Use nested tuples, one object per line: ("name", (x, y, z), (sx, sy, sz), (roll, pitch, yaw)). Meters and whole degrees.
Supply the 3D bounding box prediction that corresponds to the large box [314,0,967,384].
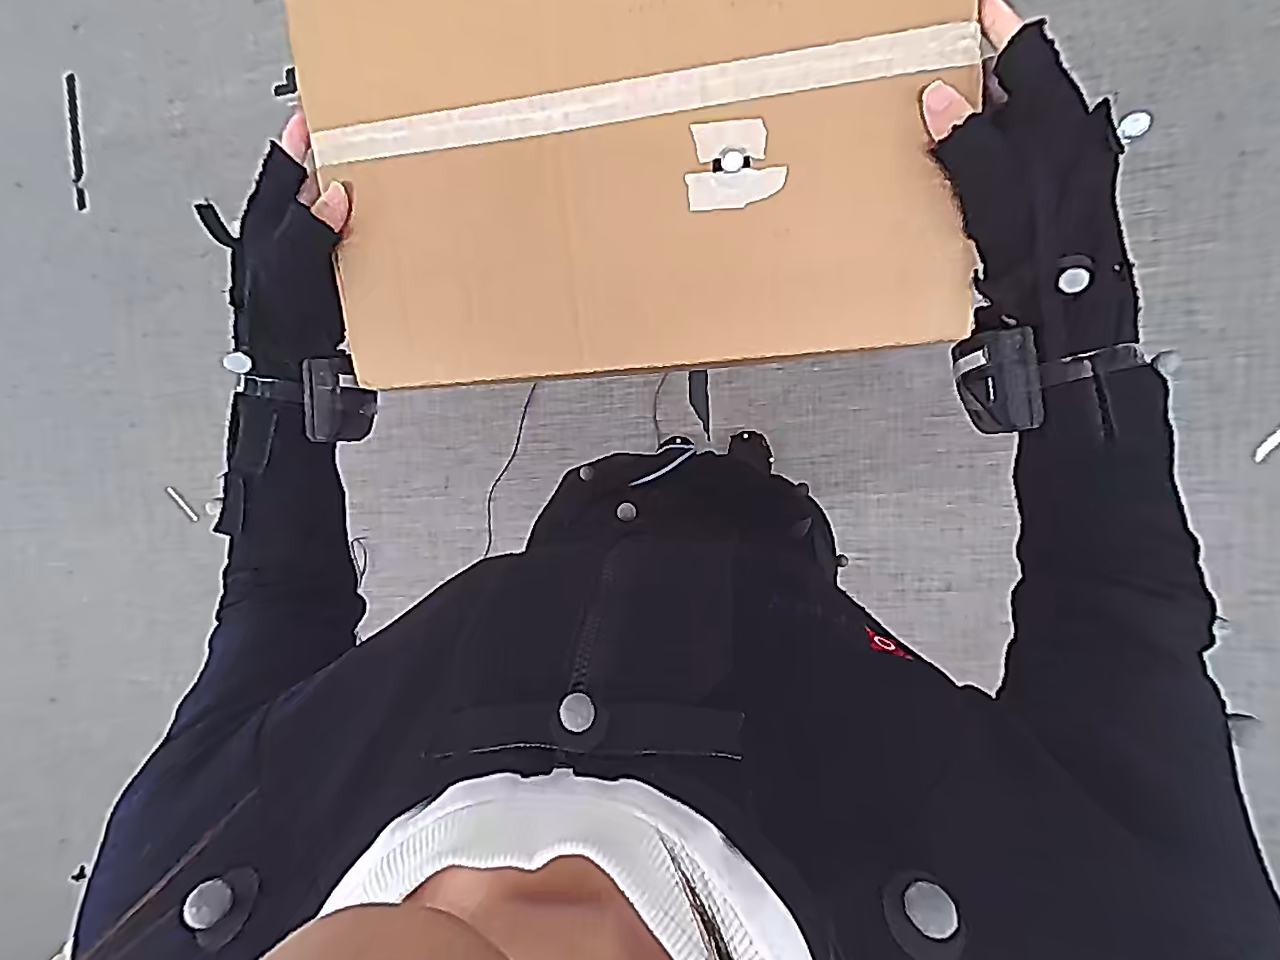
("large box", (0.009, -0.263, 0.484), (0.408, 0.320, 0.320), (-4, 101, 8))
